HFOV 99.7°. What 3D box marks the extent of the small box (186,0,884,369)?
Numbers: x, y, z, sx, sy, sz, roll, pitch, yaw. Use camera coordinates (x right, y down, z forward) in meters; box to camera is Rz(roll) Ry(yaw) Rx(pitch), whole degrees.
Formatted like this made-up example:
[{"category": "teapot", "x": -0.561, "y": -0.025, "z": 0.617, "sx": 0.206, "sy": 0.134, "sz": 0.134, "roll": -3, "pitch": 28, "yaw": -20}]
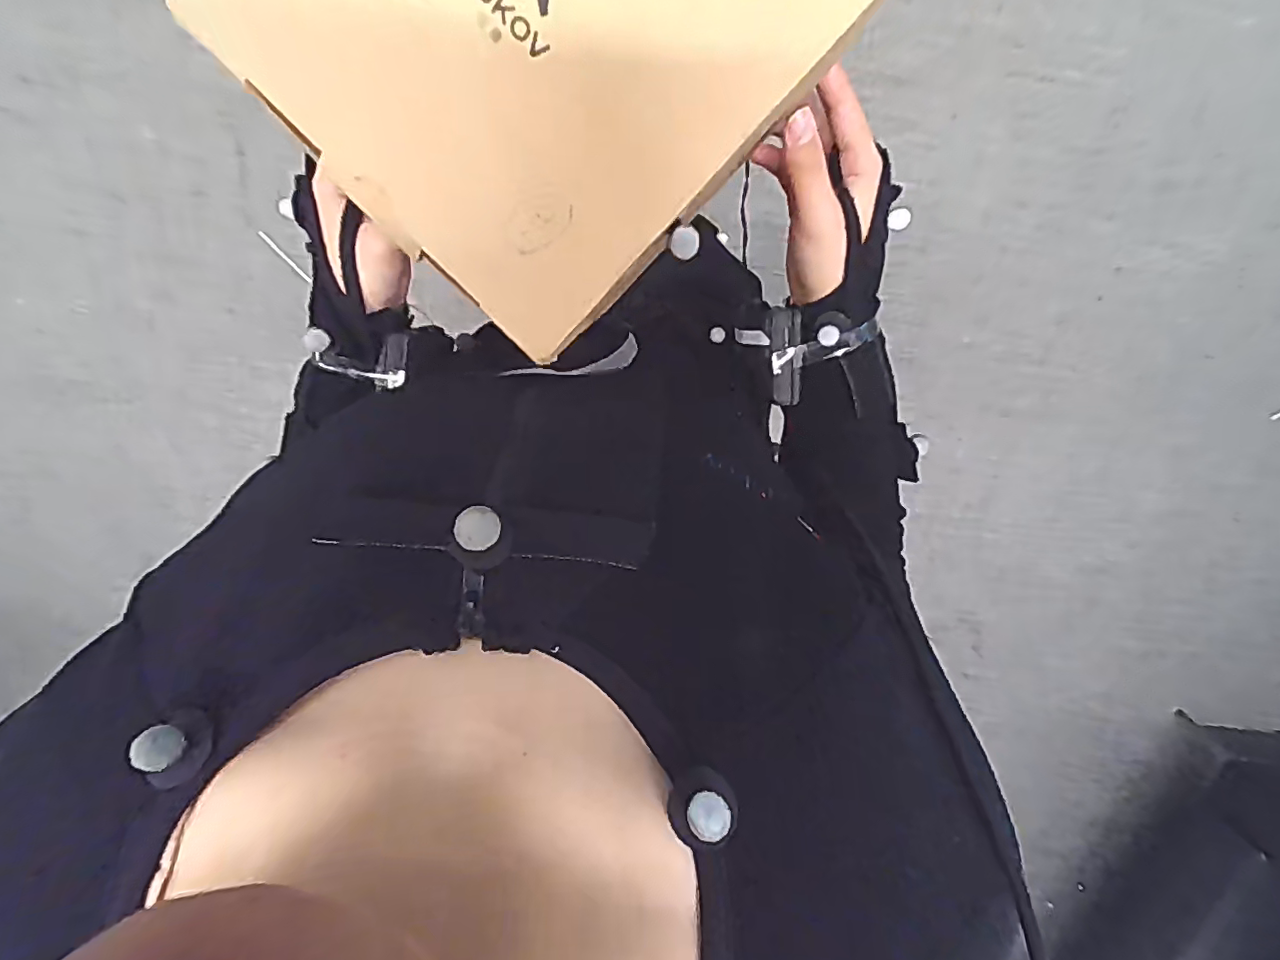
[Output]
[{"category": "small box", "x": -0.031, "y": -0.181, "z": 0.244, "sx": 0.168, "sy": 0.176, "sz": 0.179, "roll": 44, "pitch": 110, "yaw": -13}]
